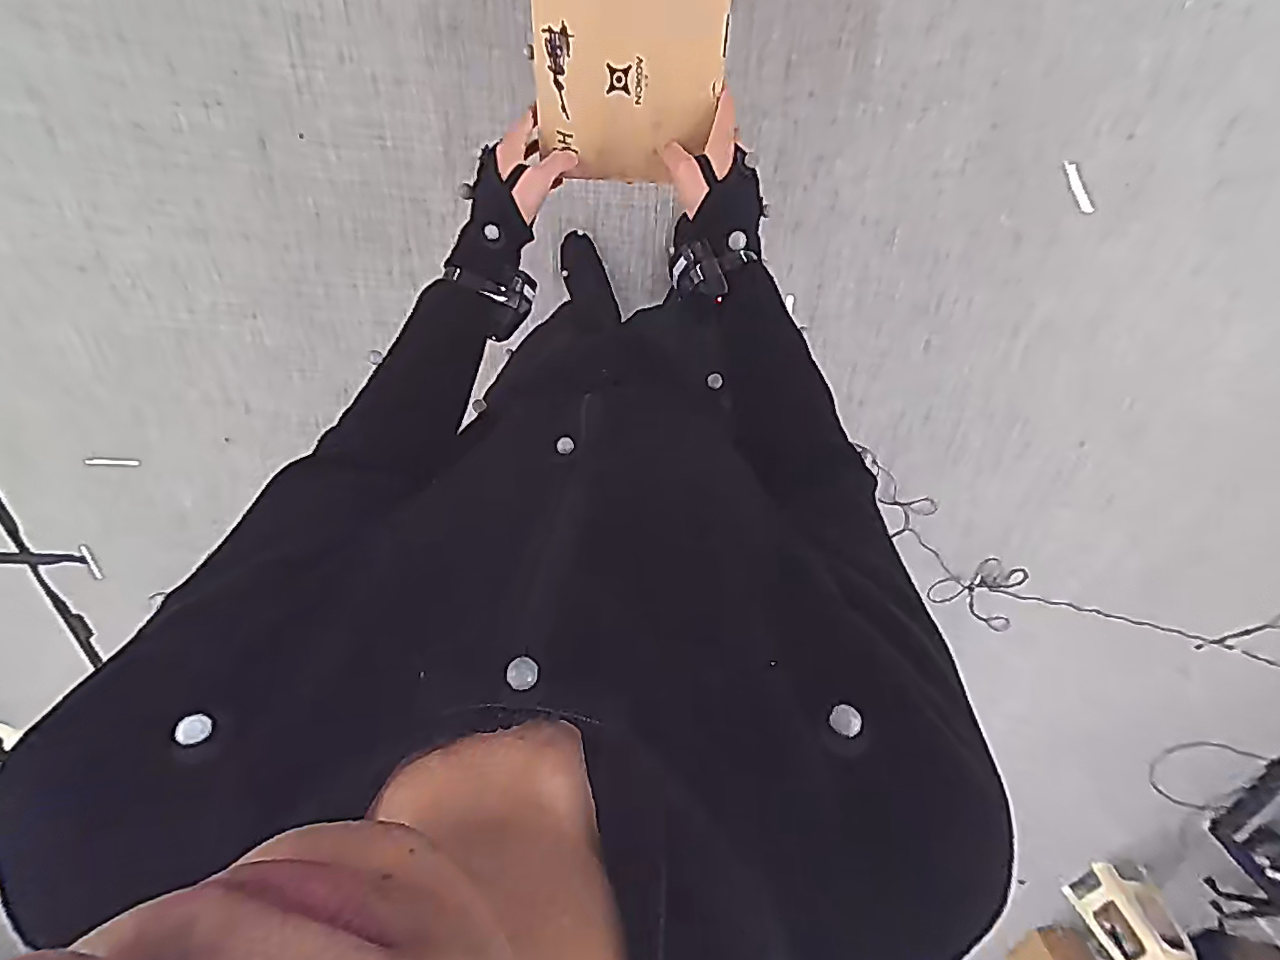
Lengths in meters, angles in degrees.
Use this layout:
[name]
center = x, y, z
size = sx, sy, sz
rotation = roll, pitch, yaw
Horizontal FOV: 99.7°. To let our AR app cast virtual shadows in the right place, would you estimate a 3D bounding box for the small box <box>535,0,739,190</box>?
[small box]
center = -0.006, -0.412, 0.559
size = 0.179, 0.176, 0.168
rotation = 3, 126, -1
